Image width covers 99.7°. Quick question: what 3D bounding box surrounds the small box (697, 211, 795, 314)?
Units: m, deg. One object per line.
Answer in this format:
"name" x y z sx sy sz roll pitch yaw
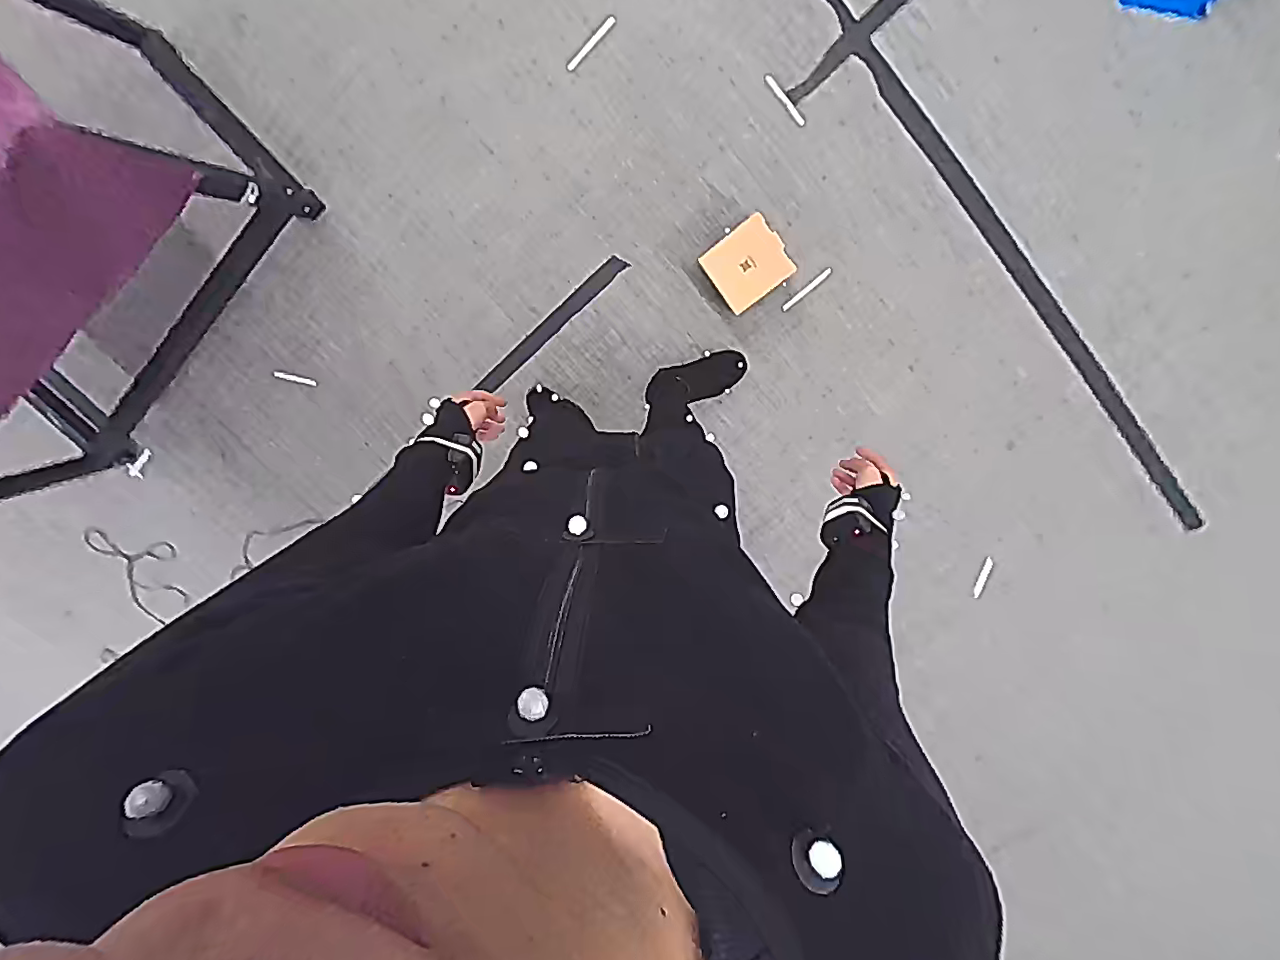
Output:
"small box" 0.263 -0.539 1.363 0.179 0.176 0.168 -35 101 16
